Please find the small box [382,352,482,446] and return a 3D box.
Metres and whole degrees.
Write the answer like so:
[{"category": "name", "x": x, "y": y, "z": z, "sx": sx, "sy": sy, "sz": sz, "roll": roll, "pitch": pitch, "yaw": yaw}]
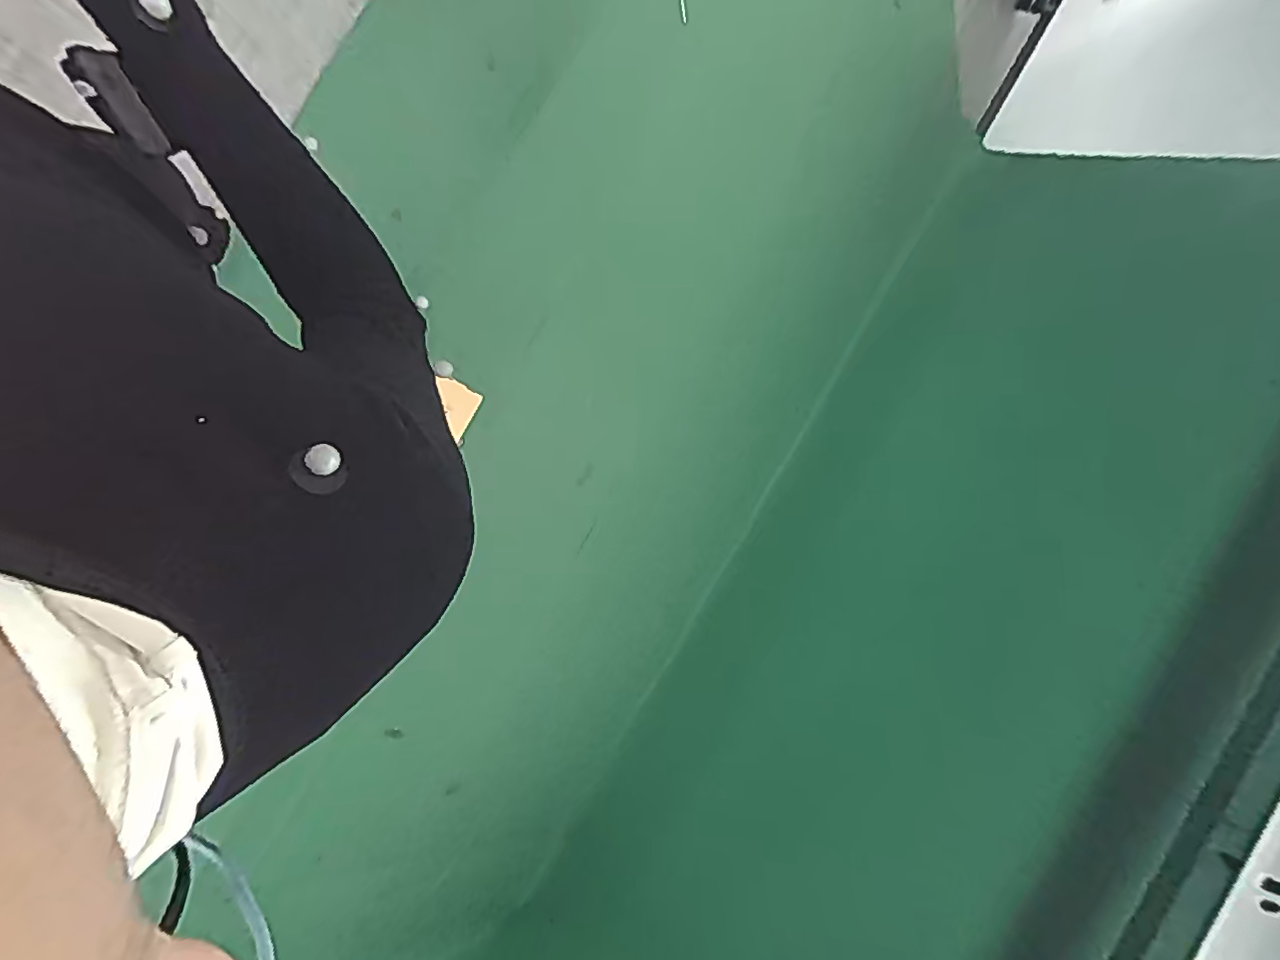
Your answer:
[{"category": "small box", "x": -0.576, "y": -0.222, "z": 1.481, "sx": 0.168, "sy": 0.176, "sz": 0.179, "roll": 30, "pitch": 89, "yaw": -52}]
